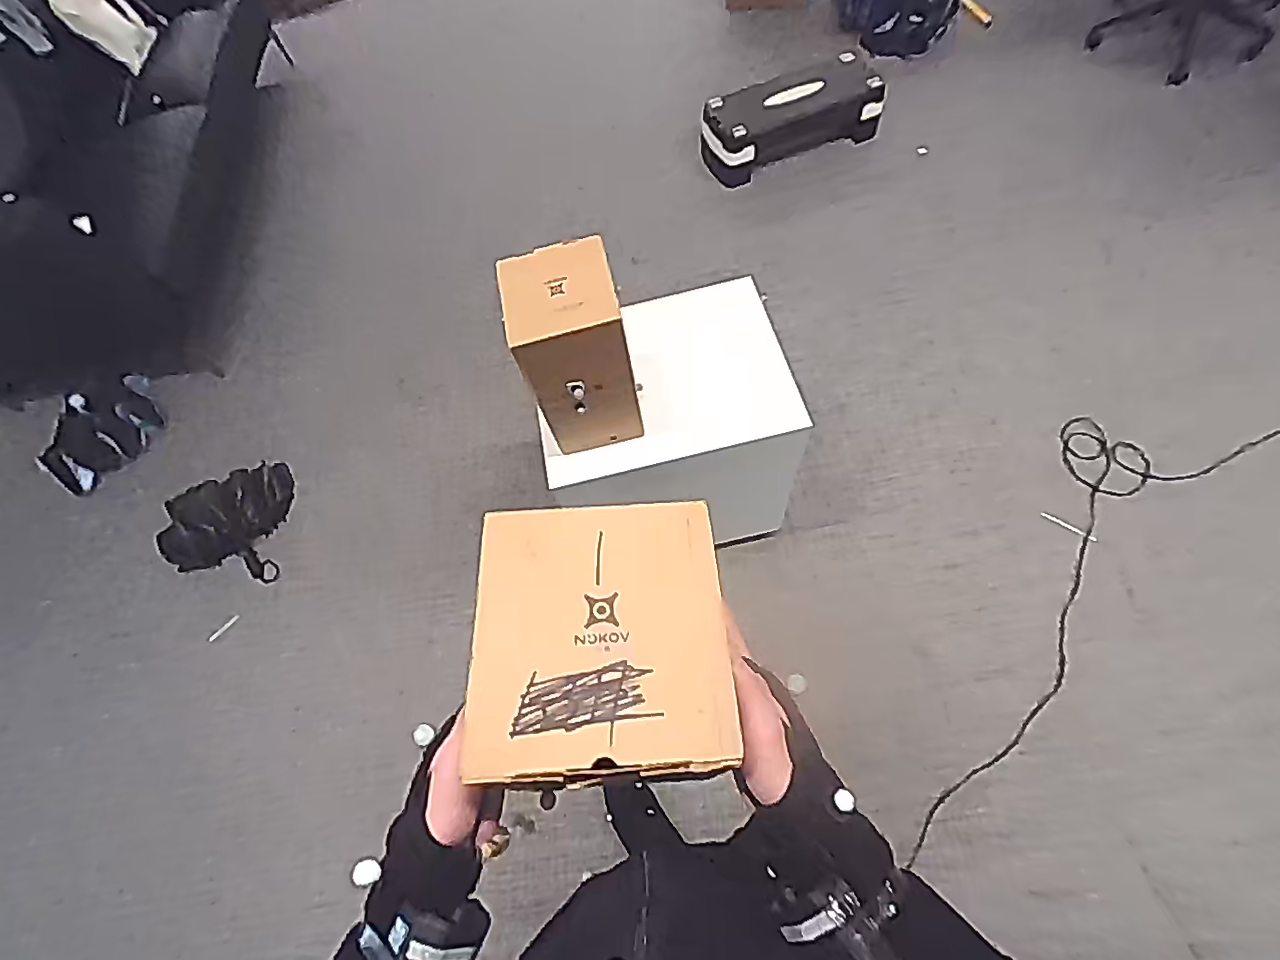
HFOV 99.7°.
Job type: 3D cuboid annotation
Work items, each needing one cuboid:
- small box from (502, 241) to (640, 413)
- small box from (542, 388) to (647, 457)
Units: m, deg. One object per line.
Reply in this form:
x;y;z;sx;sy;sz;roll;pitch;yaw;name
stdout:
-0.104;-0.235;0.857;0.168;0.176;0.179;-16;64;1;small box
-0.088;-0.170;1.005;0.168;0.176;0.179;-14;62;1;small box
